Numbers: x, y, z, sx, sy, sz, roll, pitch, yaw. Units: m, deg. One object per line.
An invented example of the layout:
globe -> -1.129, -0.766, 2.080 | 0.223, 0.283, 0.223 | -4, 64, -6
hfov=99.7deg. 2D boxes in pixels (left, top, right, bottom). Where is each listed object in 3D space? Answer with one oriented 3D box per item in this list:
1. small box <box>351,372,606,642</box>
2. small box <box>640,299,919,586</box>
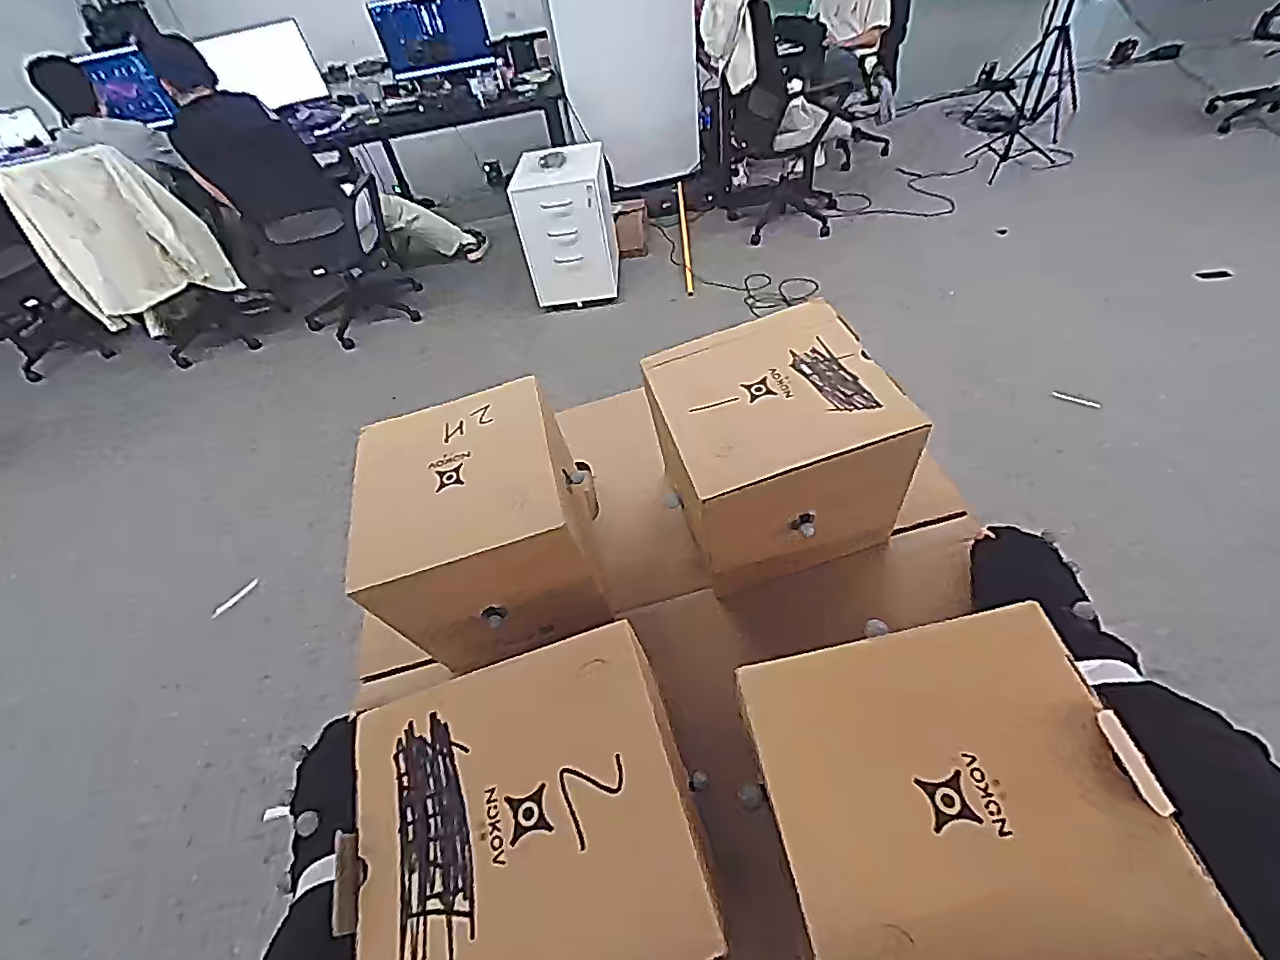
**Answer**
small box -> -0.138, 0.035, 0.508 | 0.168, 0.176, 0.179 | -16, 52, 0
small box -> 0.115, -0.028, 0.498 | 0.179, 0.176, 0.168 | -19, 52, 0
